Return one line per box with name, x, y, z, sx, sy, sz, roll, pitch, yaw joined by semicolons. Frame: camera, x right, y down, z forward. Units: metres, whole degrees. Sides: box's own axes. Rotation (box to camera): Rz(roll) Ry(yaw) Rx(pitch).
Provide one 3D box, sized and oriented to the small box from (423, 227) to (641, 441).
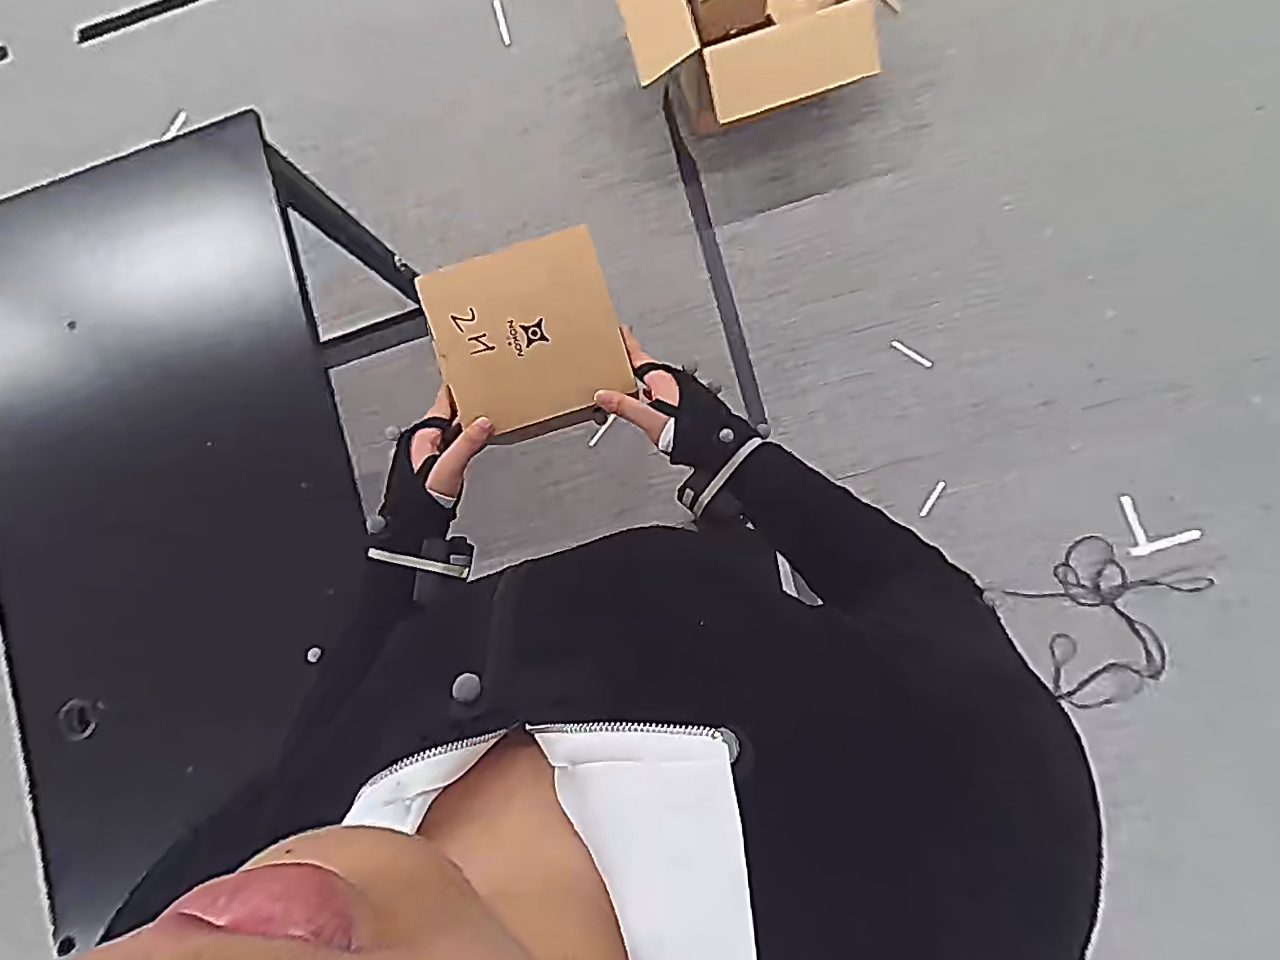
small box;-0.104;-0.146;0.598;0.179;0.176;0.168;-16;93;2
